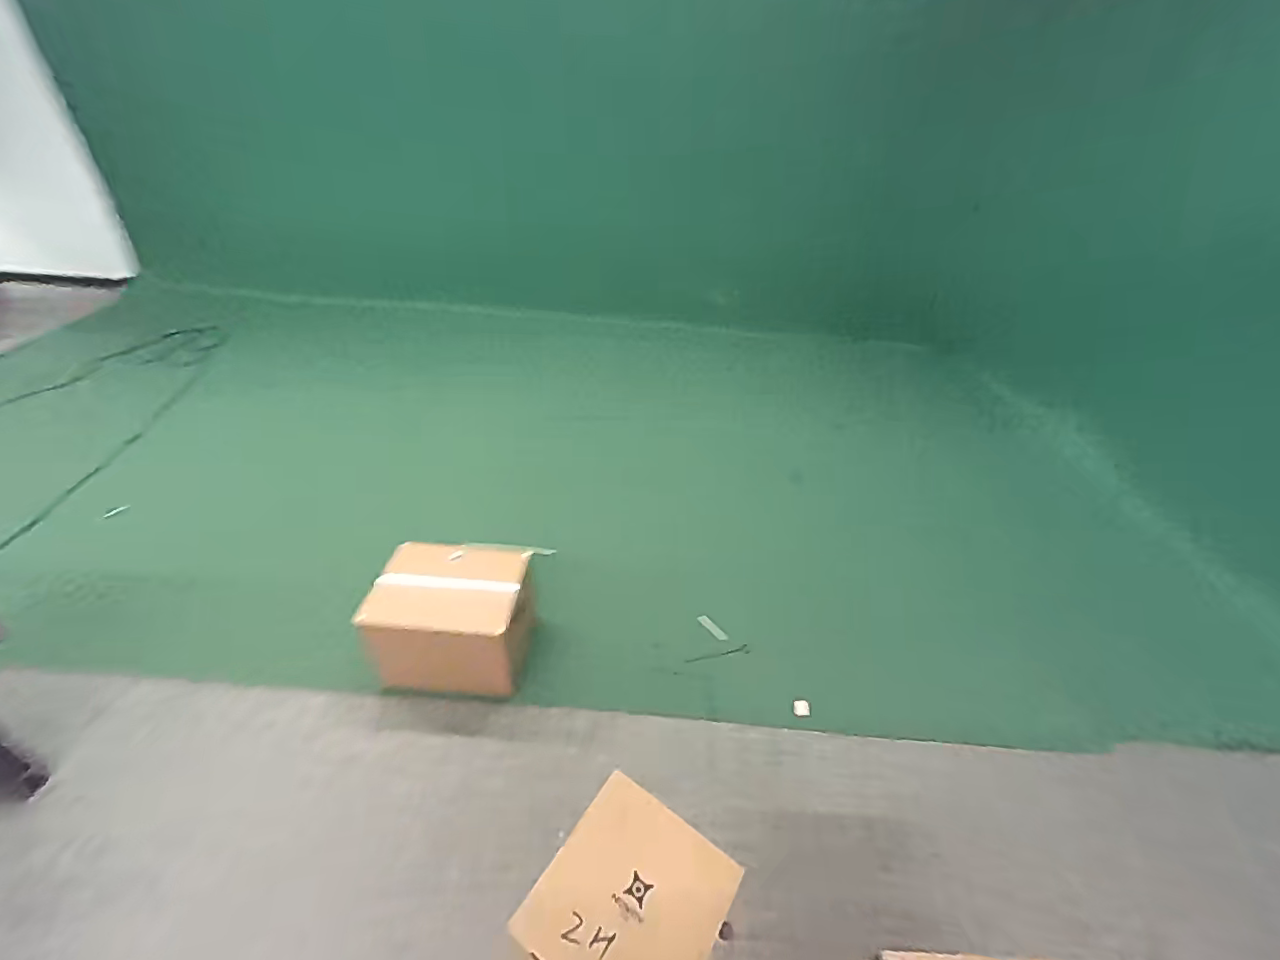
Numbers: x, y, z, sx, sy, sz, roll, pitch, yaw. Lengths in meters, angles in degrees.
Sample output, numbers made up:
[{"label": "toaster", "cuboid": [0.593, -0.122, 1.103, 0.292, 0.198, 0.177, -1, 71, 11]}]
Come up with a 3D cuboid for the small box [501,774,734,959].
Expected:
[{"label": "small box", "cuboid": [-0.027, 0.463, 0.570, 0.168, 0.176, 0.179, 28, 45, 20]}]
